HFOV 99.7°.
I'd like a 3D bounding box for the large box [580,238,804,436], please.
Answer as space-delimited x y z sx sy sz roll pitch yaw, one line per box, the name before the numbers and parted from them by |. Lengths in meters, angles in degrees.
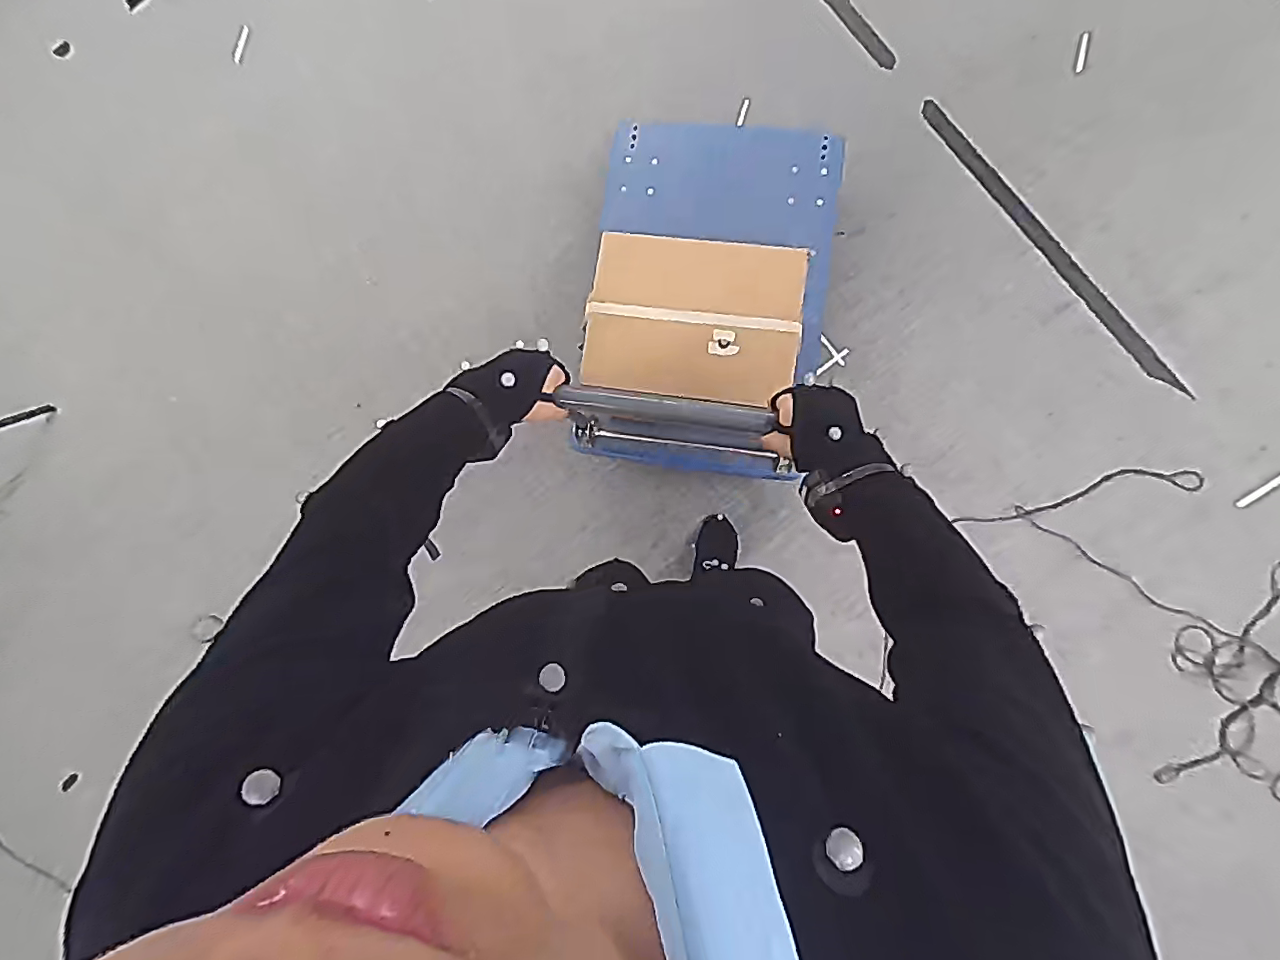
large box | 0.110 -0.291 1.185 0.408 0.320 0.320 8 87 6
